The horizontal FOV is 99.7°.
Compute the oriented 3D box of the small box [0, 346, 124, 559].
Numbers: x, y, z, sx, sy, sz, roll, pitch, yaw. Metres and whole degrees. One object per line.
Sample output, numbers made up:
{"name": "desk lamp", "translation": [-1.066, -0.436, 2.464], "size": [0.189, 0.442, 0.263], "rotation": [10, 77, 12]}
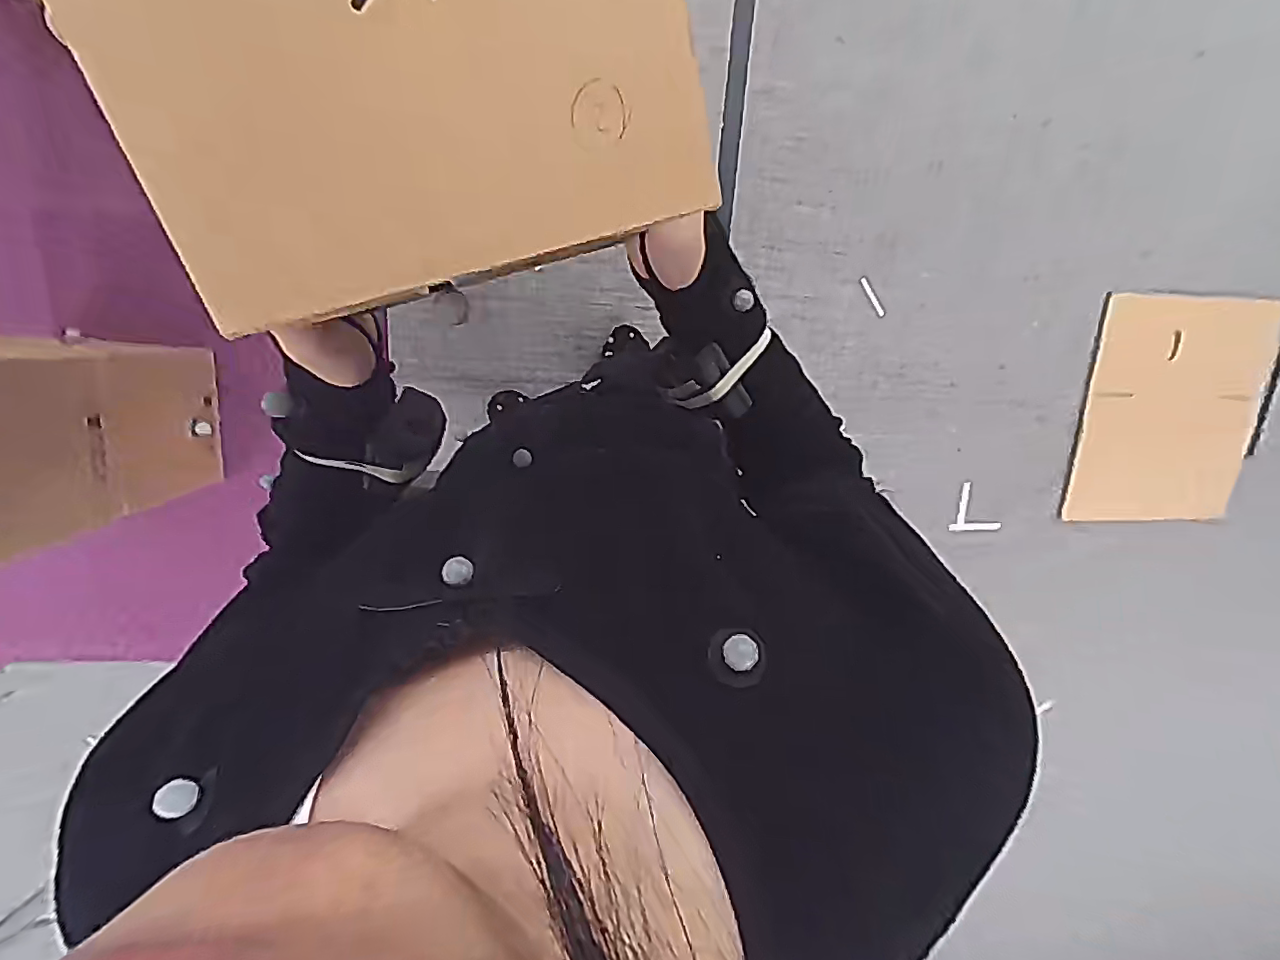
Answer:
{"name": "small box", "translation": [-0.582, -0.024, 0.434], "size": [0.179, 0.176, 0.168], "rotation": [4, 103, -8]}

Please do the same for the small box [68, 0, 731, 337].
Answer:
{"name": "small box", "translation": [-0.081, -0.170, 0.217], "size": [0.168, 0.176, 0.179], "rotation": [-17, 111, -6]}

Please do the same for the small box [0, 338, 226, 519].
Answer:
{"name": "small box", "translation": [-0.602, -0.063, 0.592], "size": [0.179, 0.176, 0.168], "rotation": [3, 103, -9]}
